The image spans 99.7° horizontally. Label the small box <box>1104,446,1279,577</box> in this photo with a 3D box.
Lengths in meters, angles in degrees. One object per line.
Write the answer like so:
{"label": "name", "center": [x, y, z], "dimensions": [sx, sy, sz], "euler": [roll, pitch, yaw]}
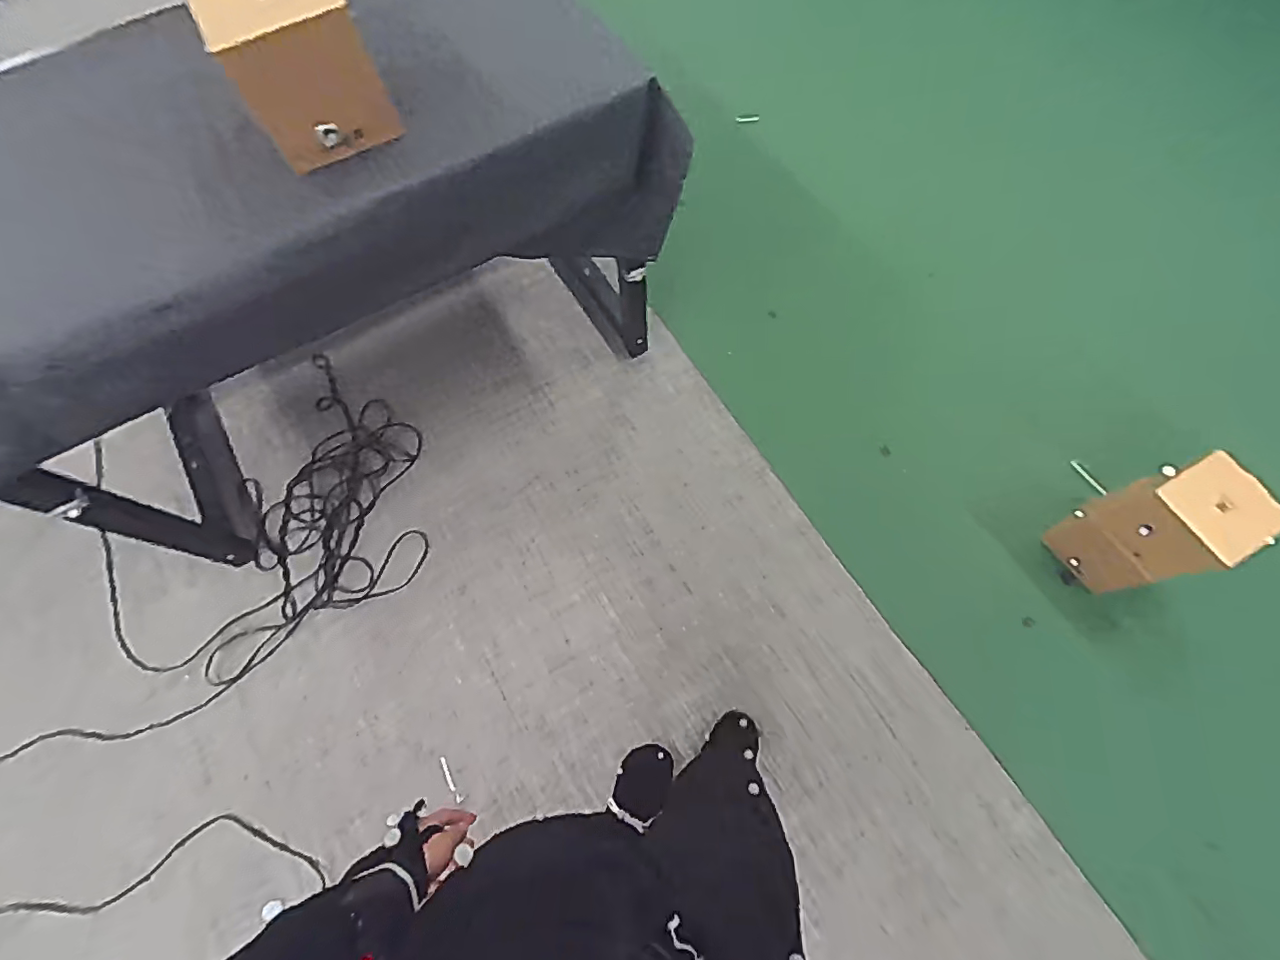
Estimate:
{"label": "small box", "center": [1.065, 0.069, 1.048], "dimensions": [0.179, 0.176, 0.168], "euler": [-28, 71, -9]}

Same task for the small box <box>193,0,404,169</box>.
{"label": "small box", "center": [-0.453, -0.569, 0.729], "dimensions": [0.168, 0.176, 0.179], "euler": [-30, 72, -8]}
